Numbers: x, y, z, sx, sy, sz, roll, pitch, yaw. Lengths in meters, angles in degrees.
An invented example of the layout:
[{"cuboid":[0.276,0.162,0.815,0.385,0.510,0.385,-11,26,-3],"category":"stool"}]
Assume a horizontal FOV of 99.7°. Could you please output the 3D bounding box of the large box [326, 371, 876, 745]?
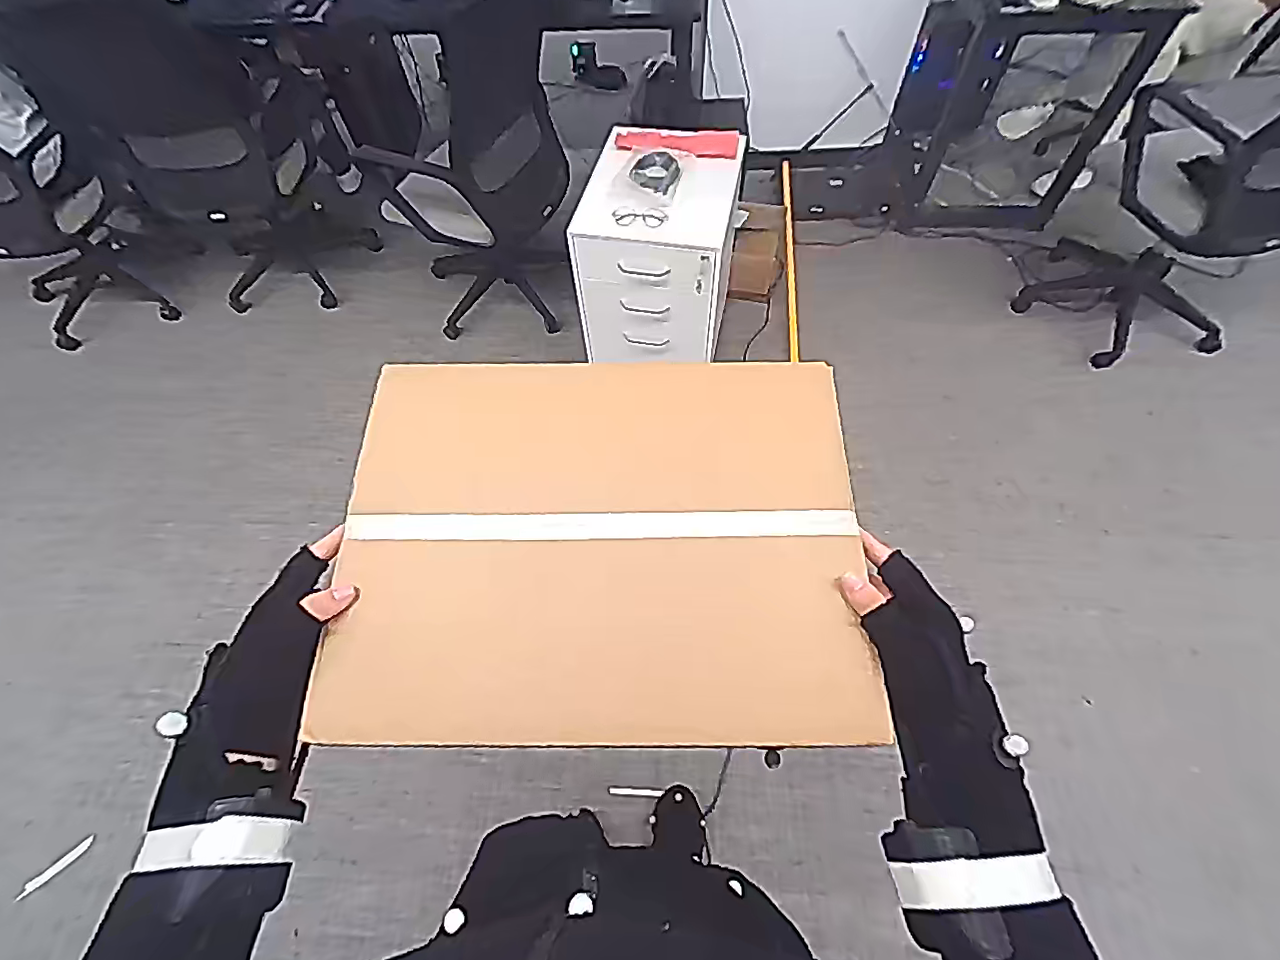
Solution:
[{"cuboid":[-0.026,0.102,0.580,0.408,0.320,0.320,0,66,1],"category":"large box"}]
